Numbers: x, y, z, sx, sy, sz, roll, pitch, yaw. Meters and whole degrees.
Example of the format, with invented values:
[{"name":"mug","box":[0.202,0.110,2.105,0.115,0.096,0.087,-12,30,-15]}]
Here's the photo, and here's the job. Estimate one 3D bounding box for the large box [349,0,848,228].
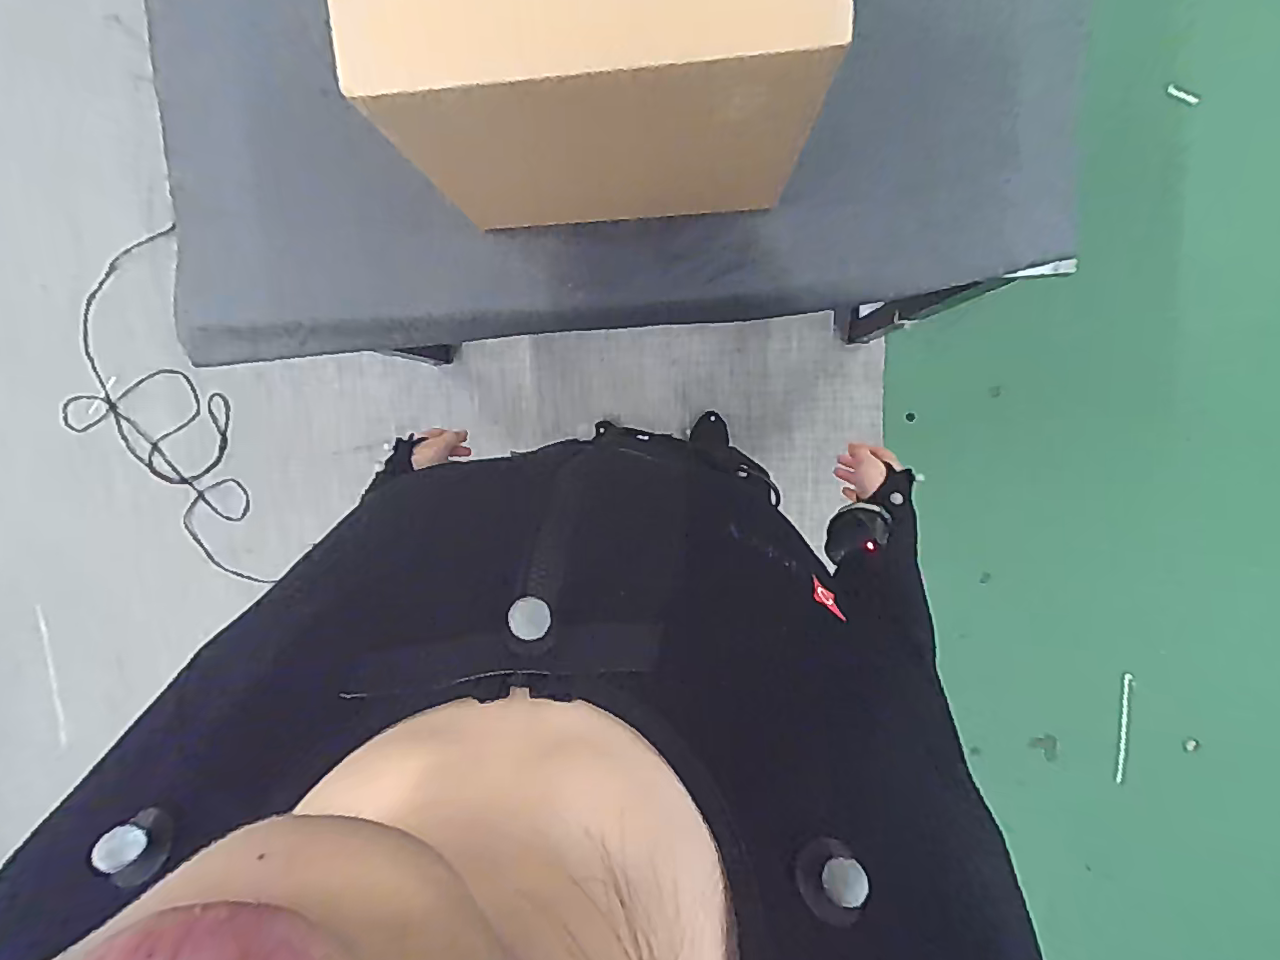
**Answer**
[{"name":"large box","box":[-0.038,-0.493,0.569,0.408,0.320,0.320,-3,97,4]}]
